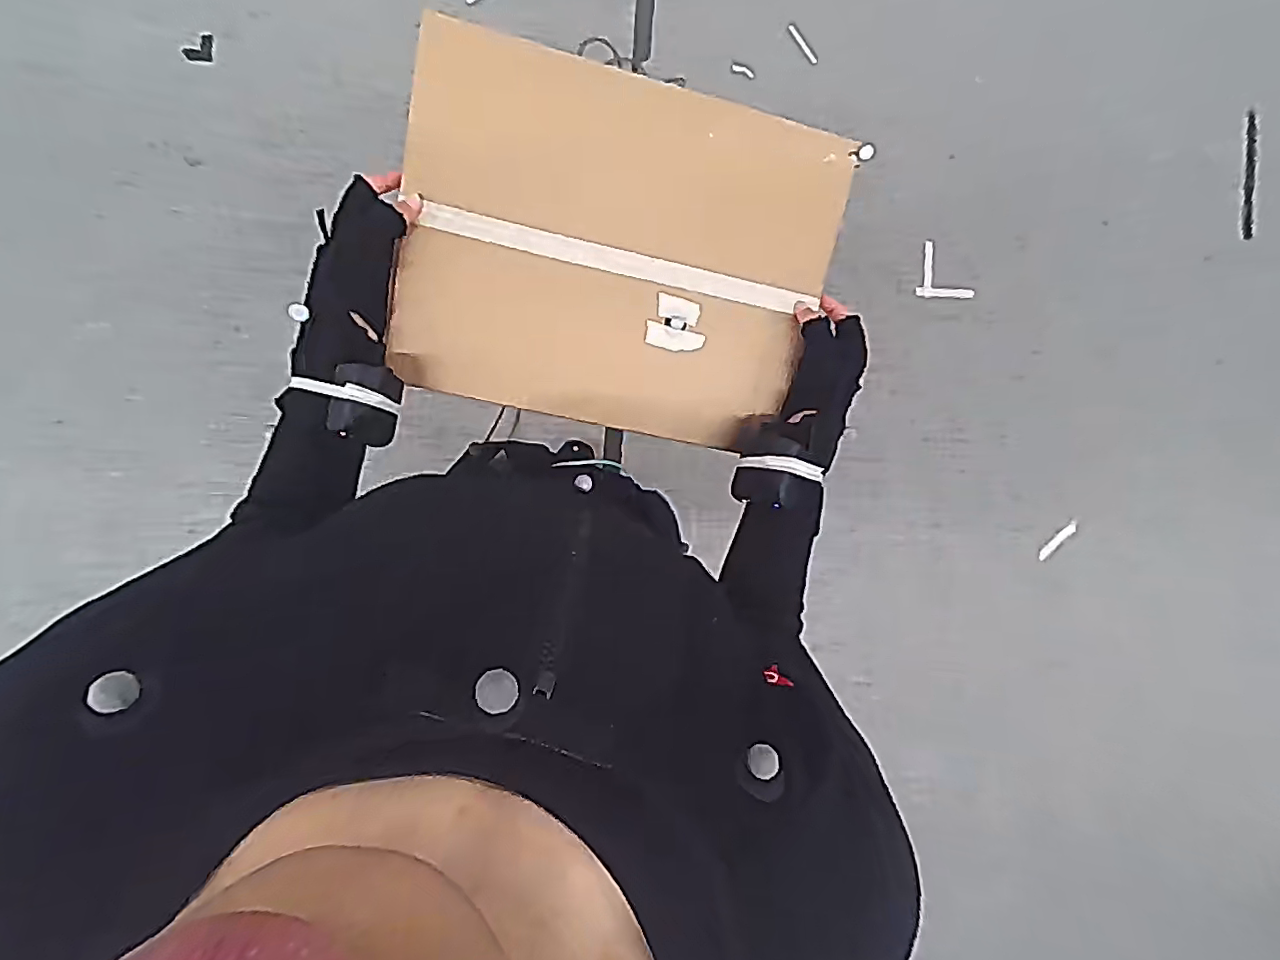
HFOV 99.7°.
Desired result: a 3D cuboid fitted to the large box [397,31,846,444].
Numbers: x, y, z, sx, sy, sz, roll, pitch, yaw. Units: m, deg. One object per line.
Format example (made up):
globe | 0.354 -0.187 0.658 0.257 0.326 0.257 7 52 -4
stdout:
large box | -0.037 -0.250 0.674 0.408 0.320 0.320 11 103 -9
